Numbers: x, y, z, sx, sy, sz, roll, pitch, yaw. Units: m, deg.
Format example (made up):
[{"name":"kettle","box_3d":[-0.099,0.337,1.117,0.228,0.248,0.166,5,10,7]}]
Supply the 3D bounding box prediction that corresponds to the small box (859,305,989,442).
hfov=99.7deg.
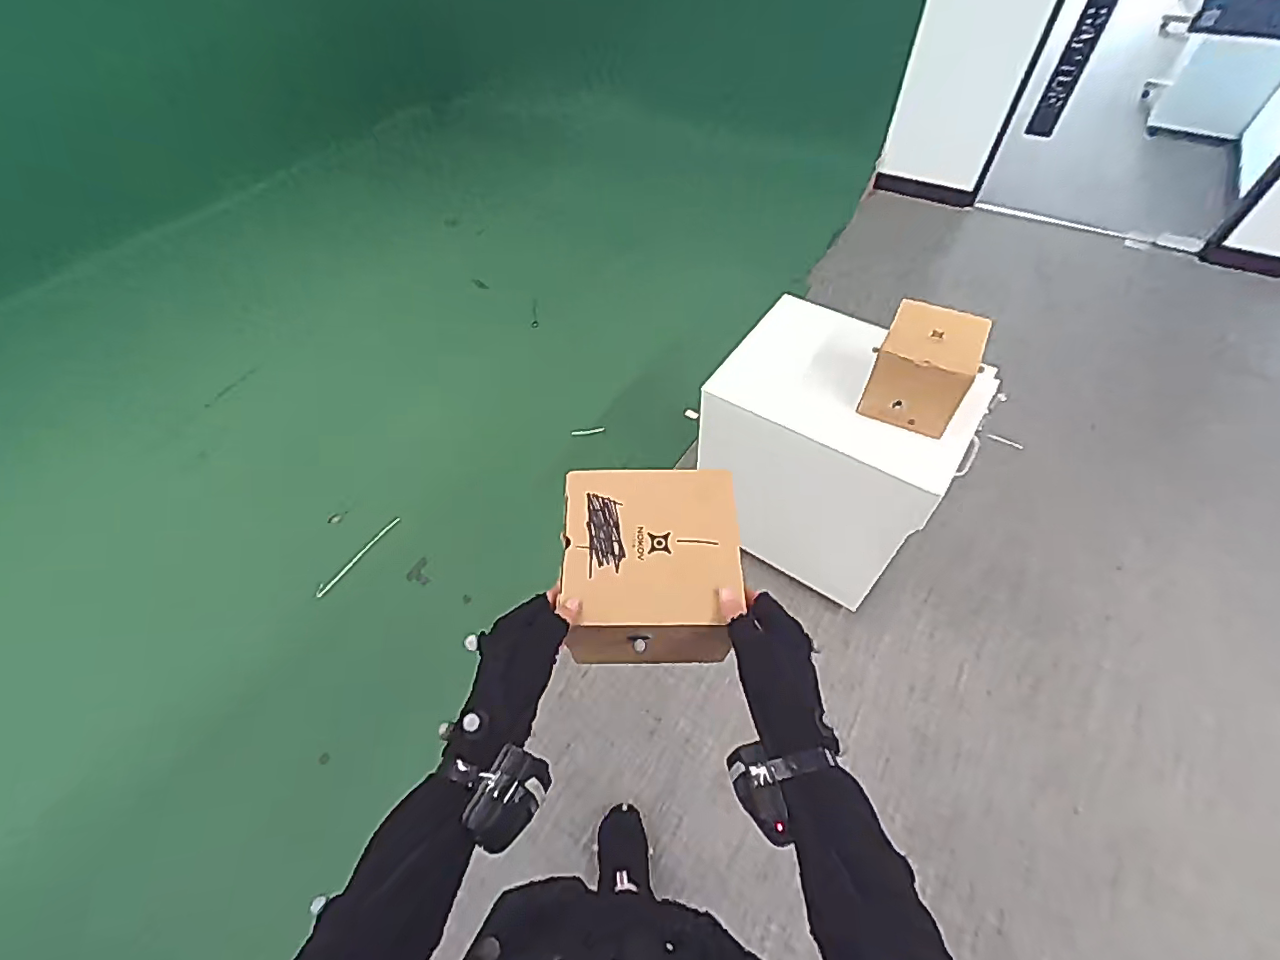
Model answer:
[{"name":"small box","box_3d":[0.550,-0.208,1.064,0.168,0.176,0.179,22,58,19]}]

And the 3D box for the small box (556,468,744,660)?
[{"name":"small box","box_3d":[0.010,0.100,0.603,0.179,0.176,0.168,0,60,0]}]
